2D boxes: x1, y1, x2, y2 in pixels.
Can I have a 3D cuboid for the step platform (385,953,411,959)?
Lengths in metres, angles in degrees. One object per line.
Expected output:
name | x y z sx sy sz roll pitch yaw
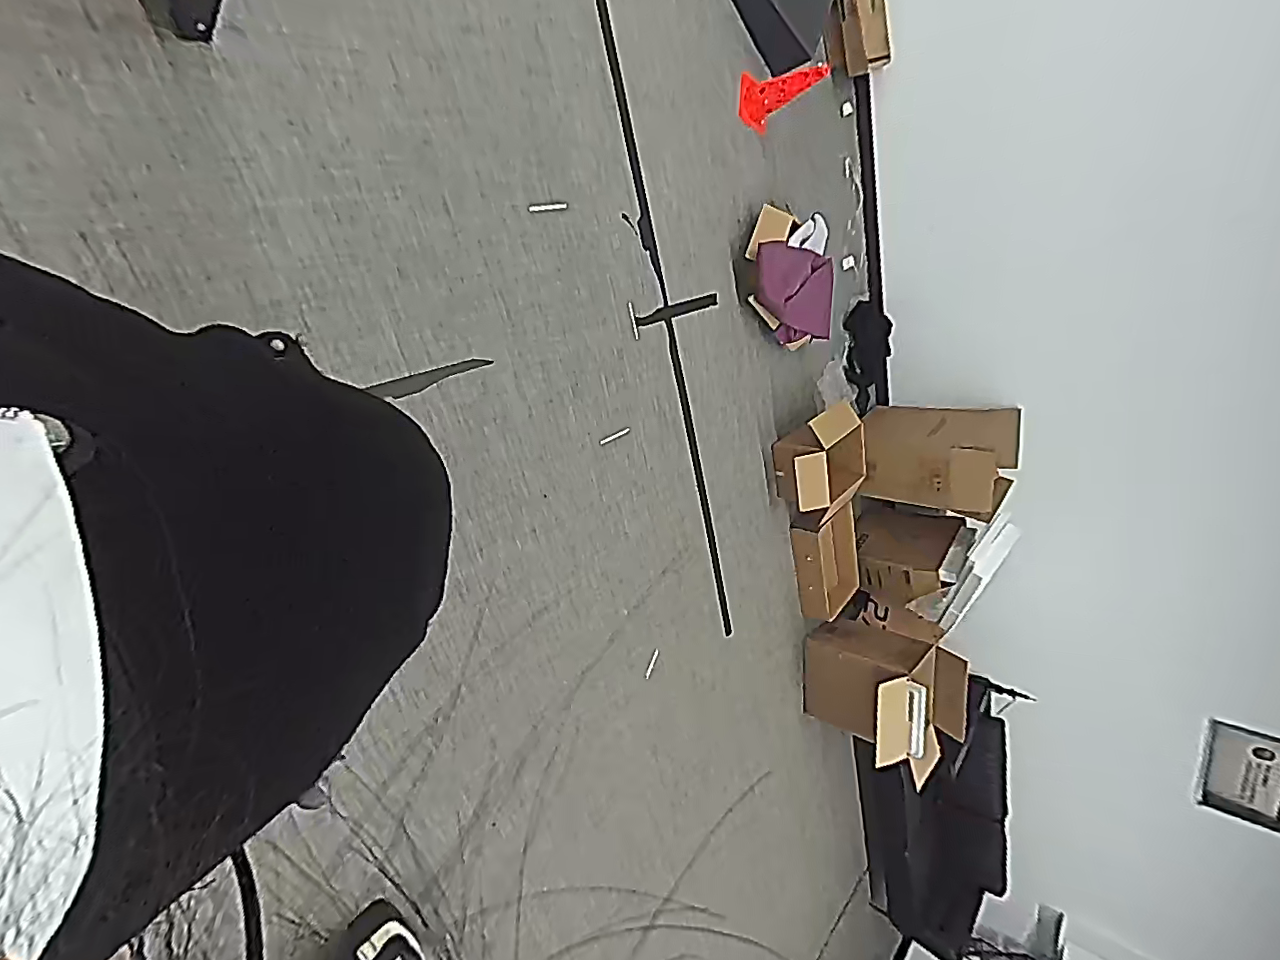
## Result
step platform | -0.756 1.485 1.208 0.684 0.204 0.286 -32 118 -37
